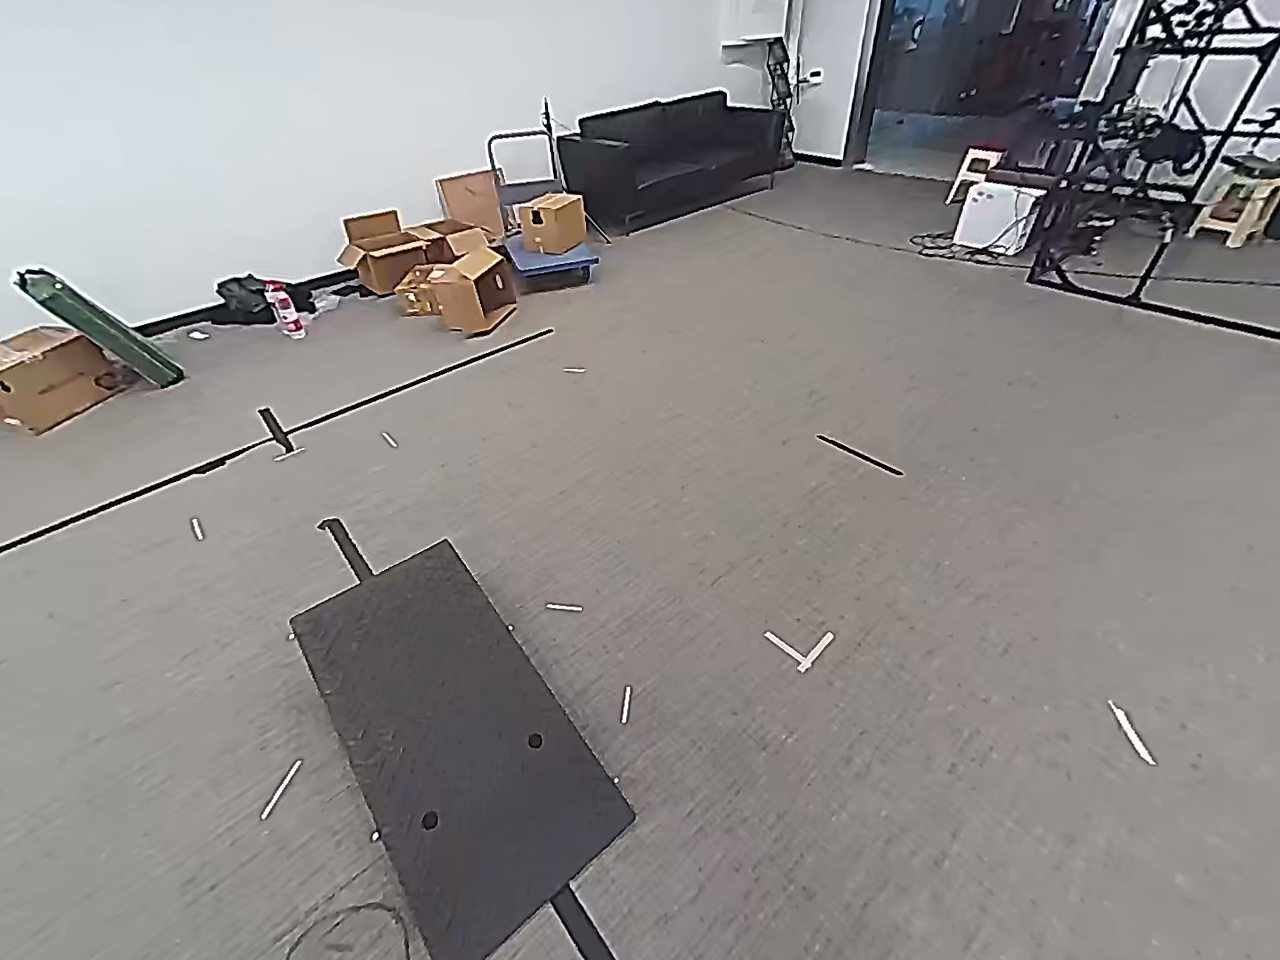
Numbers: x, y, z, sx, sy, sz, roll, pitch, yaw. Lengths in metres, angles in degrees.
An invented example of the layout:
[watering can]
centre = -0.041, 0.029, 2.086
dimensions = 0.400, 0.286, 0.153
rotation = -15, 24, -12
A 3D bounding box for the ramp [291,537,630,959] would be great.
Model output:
[ramp]
centre = -0.510, 0.599, 1.438
dimensions = 0.509, 0.206, 0.991
rotation = -30, 48, -29
